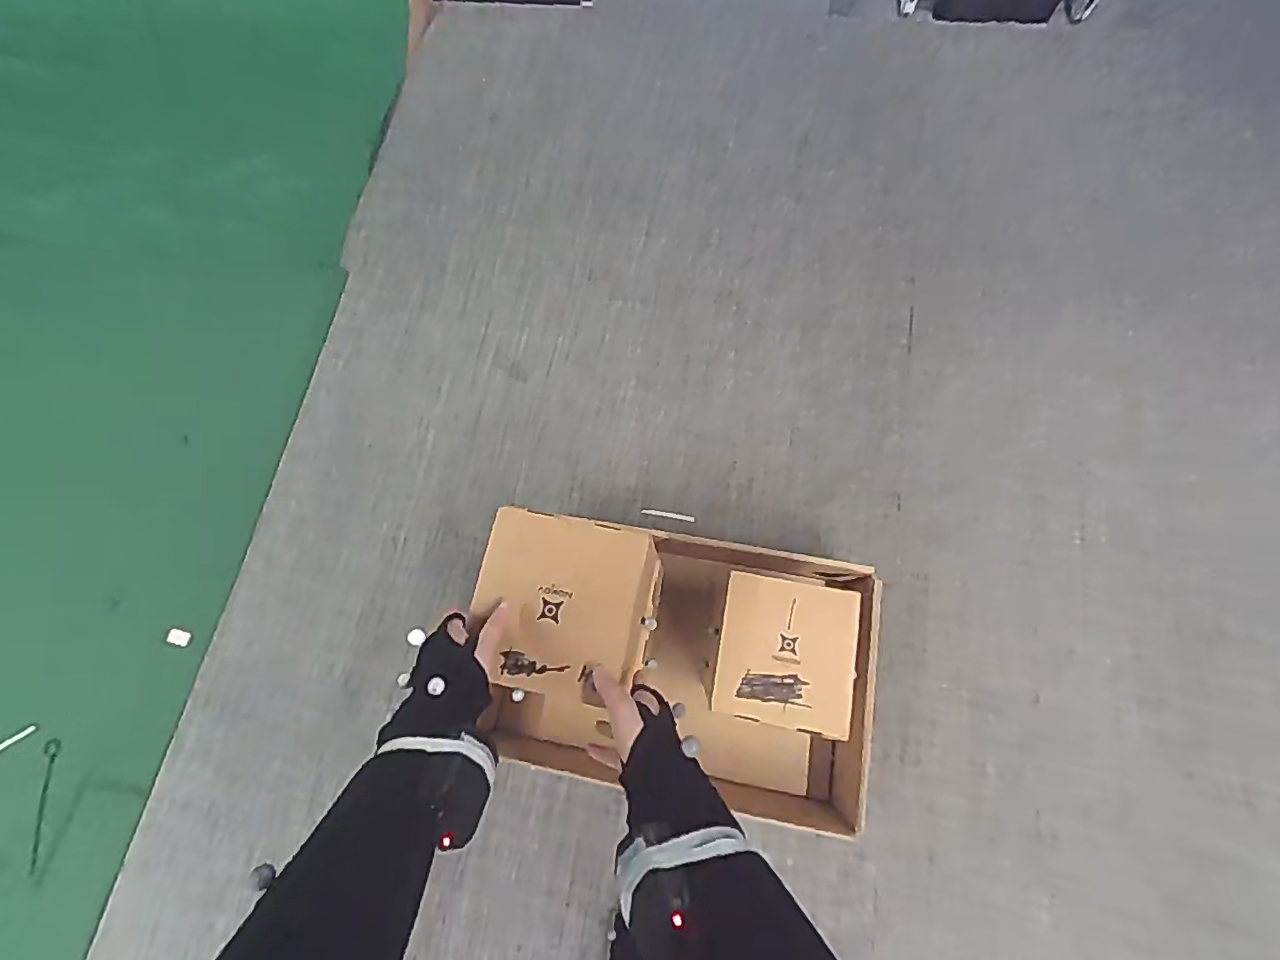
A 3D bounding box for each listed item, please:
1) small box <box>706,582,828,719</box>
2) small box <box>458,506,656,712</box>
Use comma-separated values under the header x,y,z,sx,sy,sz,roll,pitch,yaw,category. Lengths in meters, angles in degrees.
x,y,z,sx,sy,sz,roll,pitch,yaw,category
0.204,0.277,0.901,0.168,0.176,0.179,9,76,8,small box
-0.077,0.146,0.620,0.168,0.176,0.179,11,75,8,small box
